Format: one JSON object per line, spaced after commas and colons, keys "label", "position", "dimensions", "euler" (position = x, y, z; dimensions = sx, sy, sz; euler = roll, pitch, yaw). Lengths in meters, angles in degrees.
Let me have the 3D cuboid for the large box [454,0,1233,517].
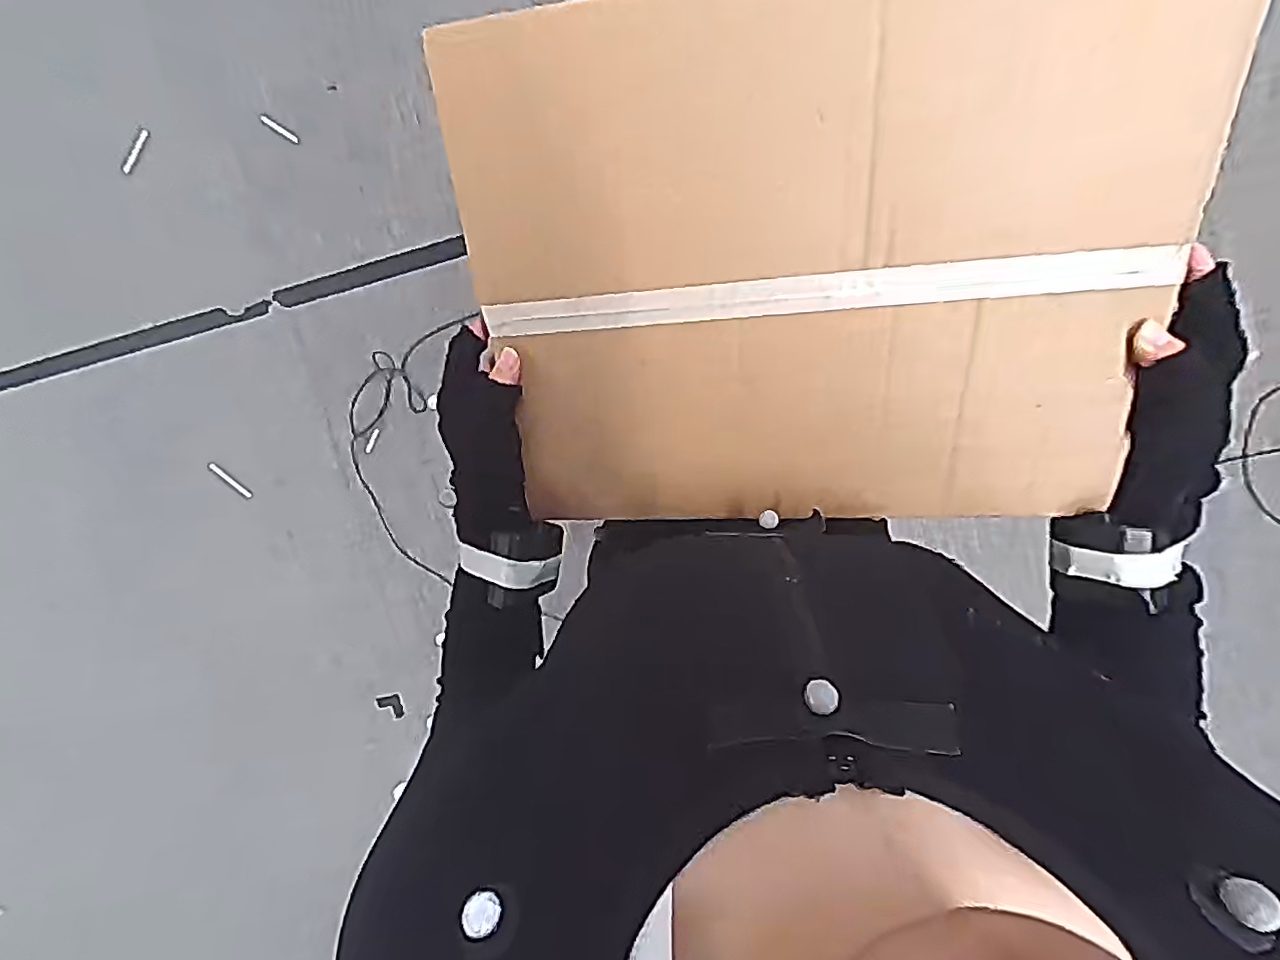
{"label": "large box", "position": [0.119, -0.179, 0.475], "dimensions": [0.408, 0.320, 0.320], "euler": [-1, 117, 10]}
